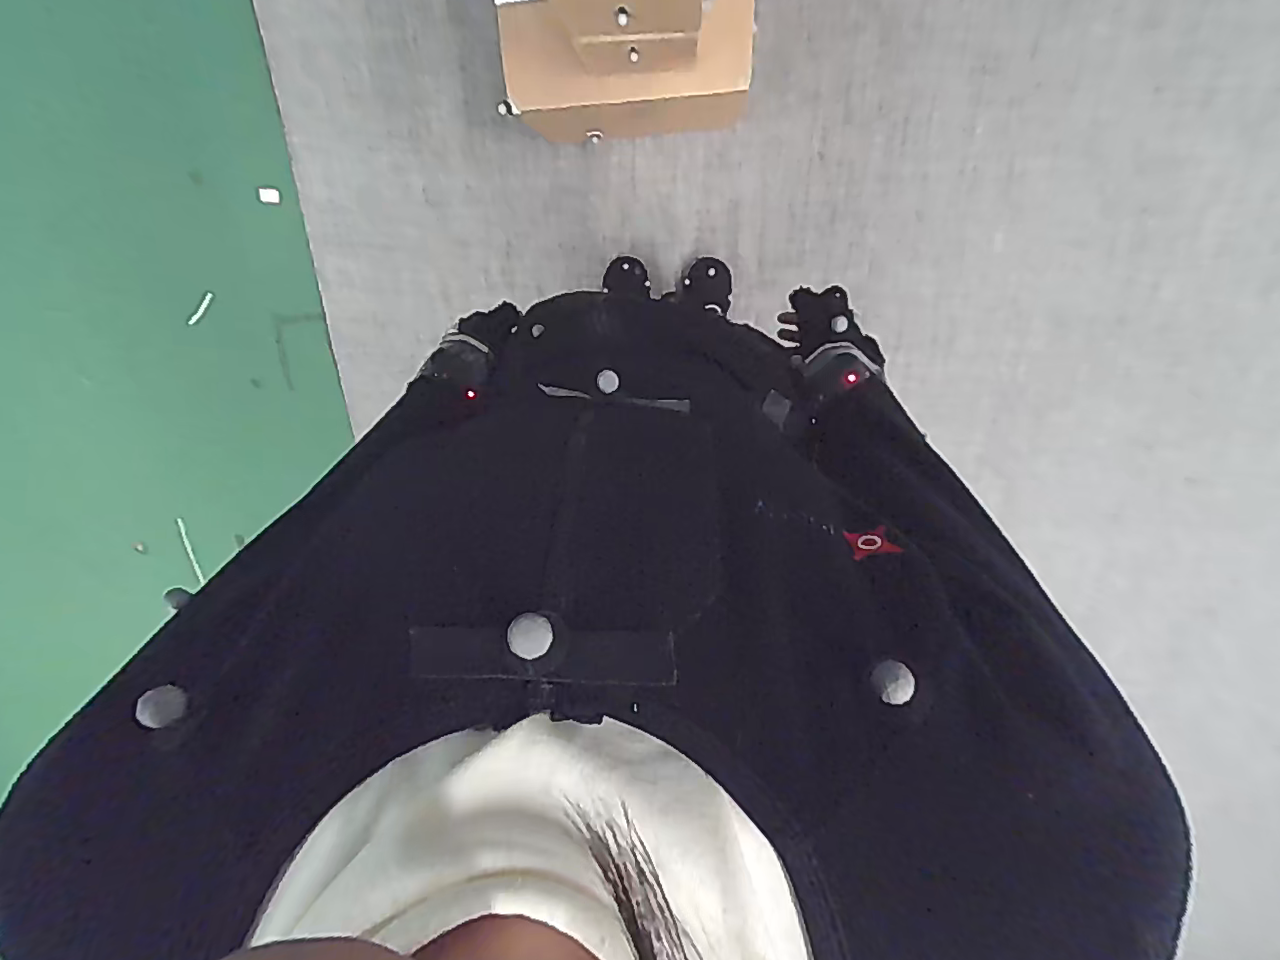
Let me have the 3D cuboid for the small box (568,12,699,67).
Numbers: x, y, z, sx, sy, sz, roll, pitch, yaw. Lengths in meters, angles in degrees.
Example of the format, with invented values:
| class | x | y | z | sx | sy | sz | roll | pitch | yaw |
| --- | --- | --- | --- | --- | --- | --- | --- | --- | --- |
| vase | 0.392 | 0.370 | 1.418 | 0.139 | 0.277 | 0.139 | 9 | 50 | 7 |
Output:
| class | x | y | z | sx | sy | sz | roll | pitch | yaw |
| --- | --- | --- | --- | --- | --- | --- | --- | --- | --- |
| small box | -0.003 | -0.704 | 0.762 | 0.179 | 0.176 | 0.168 | 1 | 116 | 5 |

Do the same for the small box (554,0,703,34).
| class | x | y | z | sx | sy | sz | roll | pitch | yaw |
| --- | --- | --- | --- | --- | --- | --- | --- | --- | --- |
| small box | -0.012 | -0.637 | 0.613 | 0.179 | 0.176 | 0.168 | 0 | 115 | 6 |
